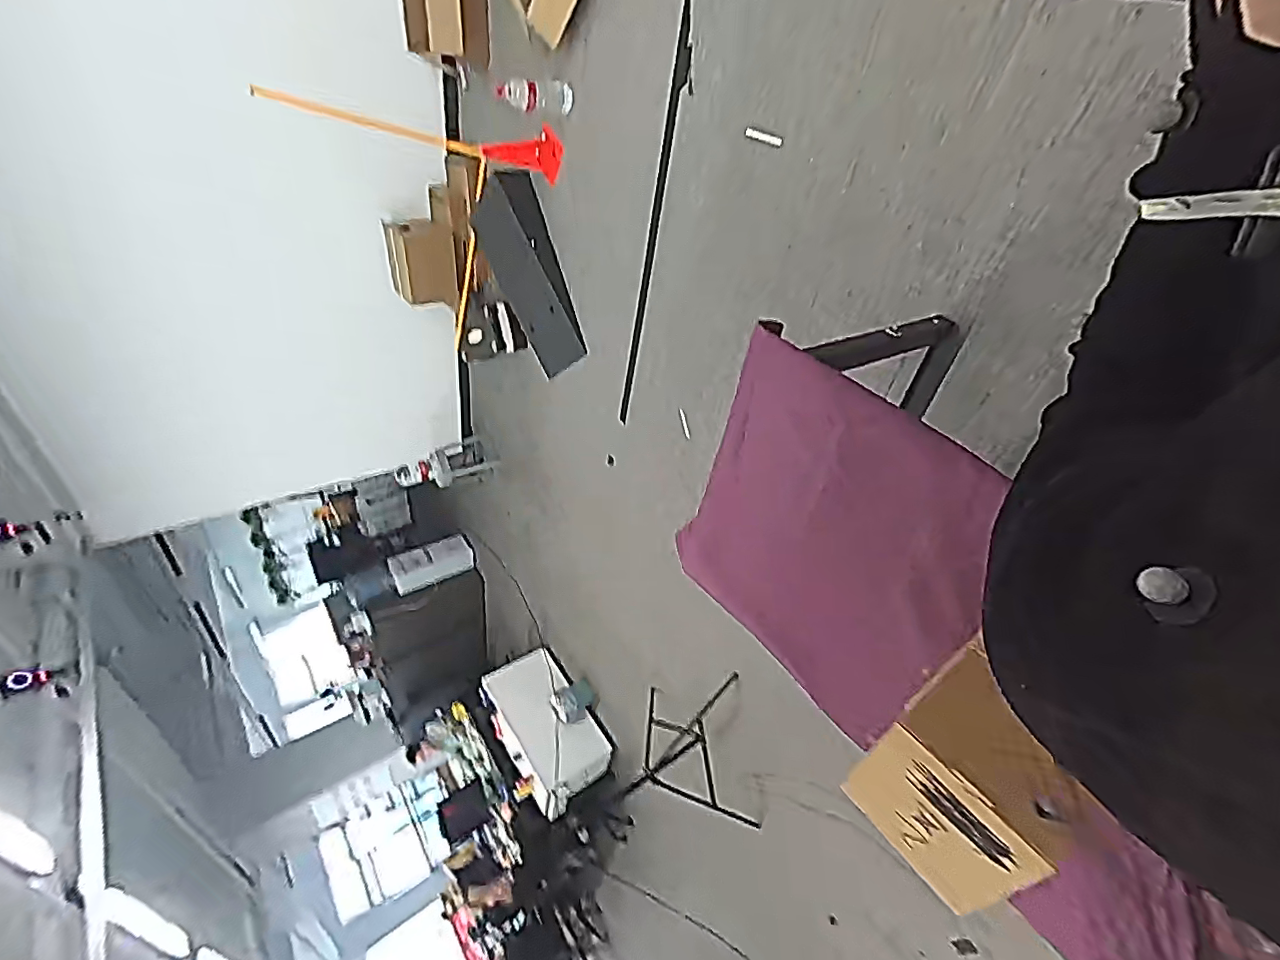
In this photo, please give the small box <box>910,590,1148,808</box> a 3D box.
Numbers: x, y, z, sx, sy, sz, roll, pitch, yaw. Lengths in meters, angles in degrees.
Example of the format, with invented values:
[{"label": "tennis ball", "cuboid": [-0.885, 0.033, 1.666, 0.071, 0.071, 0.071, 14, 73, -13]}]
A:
[{"label": "small box", "cuboid": [0.507, 0.281, 0.713, 0.168, 0.176, 0.179, 45, 140, 31]}]
